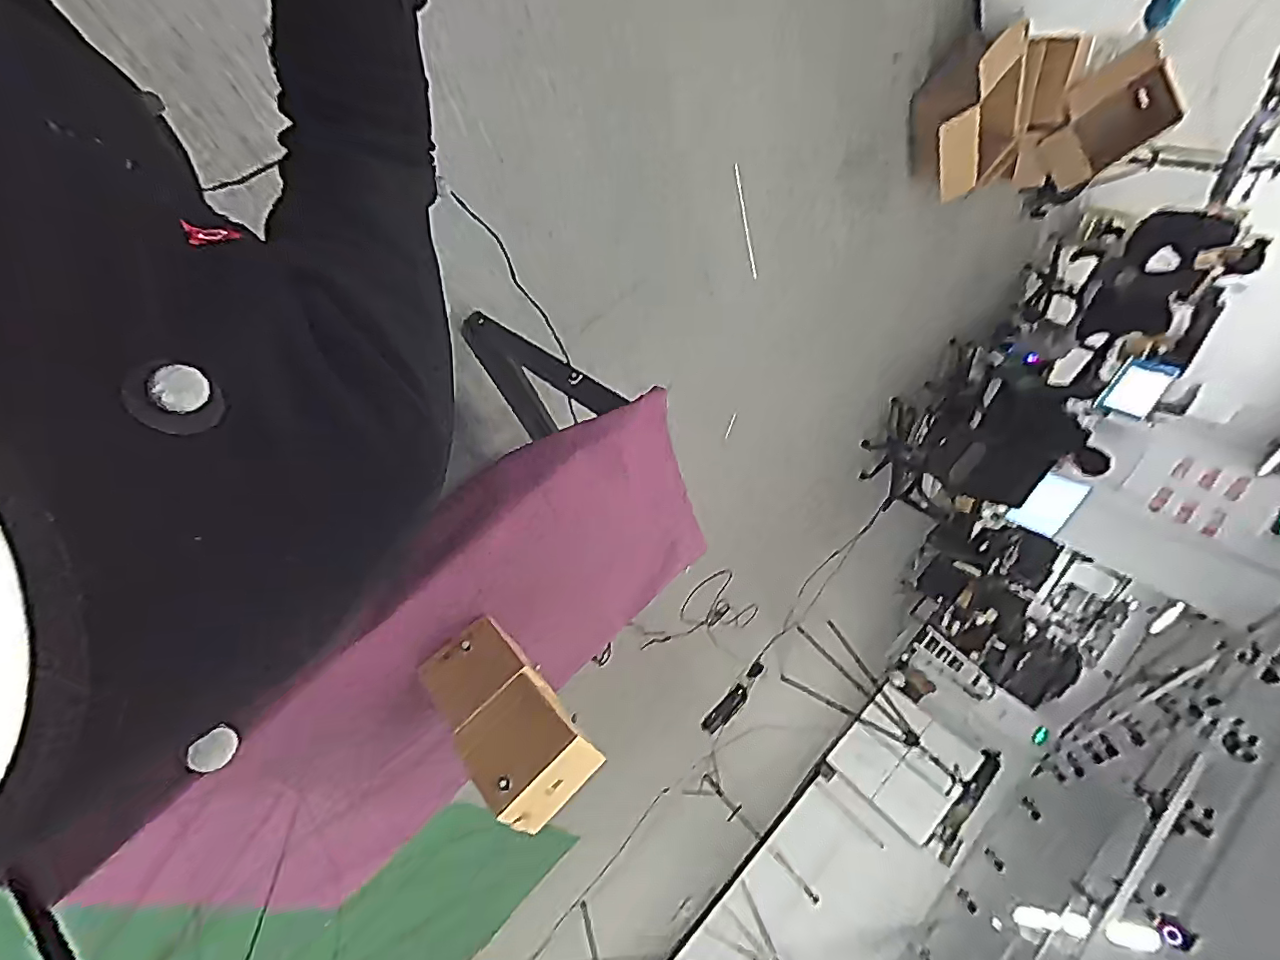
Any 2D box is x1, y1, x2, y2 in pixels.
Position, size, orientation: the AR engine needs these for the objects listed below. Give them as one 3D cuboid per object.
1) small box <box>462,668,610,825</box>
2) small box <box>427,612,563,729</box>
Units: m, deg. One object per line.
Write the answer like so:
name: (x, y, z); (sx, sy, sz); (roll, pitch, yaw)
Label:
small box: (-0.188, 0.479, 0.984); (0.179, 0.176, 0.168); (-41, 141, -16)
small box: (-0.288, 0.397, 1.082); (0.168, 0.176, 0.179); (-40, 140, -18)
